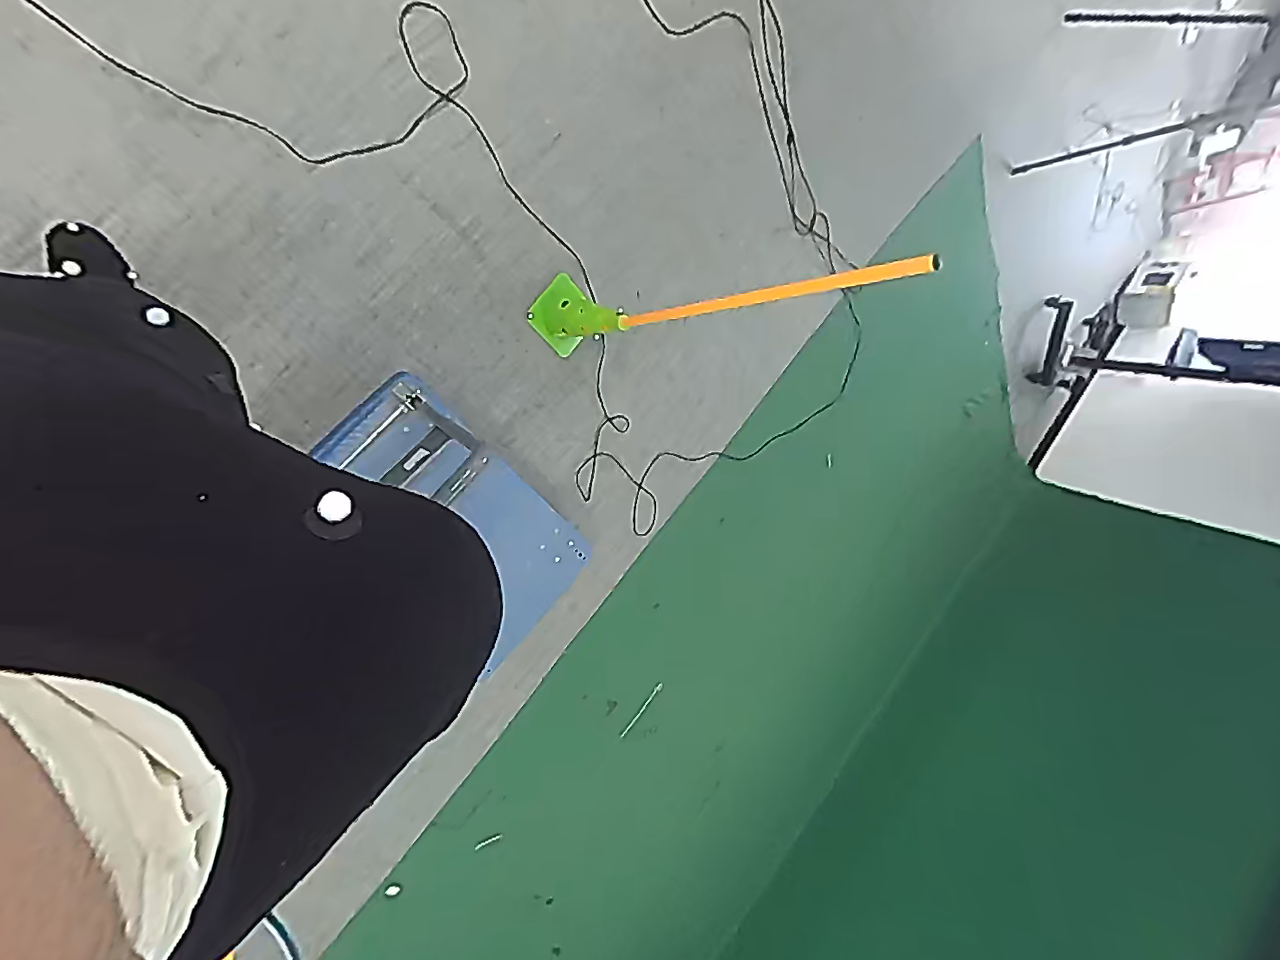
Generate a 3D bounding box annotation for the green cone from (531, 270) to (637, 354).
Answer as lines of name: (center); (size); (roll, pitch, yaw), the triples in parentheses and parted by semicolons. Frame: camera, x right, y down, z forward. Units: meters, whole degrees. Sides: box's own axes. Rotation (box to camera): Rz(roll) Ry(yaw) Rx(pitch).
green cone: (-0.132, -0.489, 1.609); (0.202, 0.368, 0.200); (-54, 131, -9)
